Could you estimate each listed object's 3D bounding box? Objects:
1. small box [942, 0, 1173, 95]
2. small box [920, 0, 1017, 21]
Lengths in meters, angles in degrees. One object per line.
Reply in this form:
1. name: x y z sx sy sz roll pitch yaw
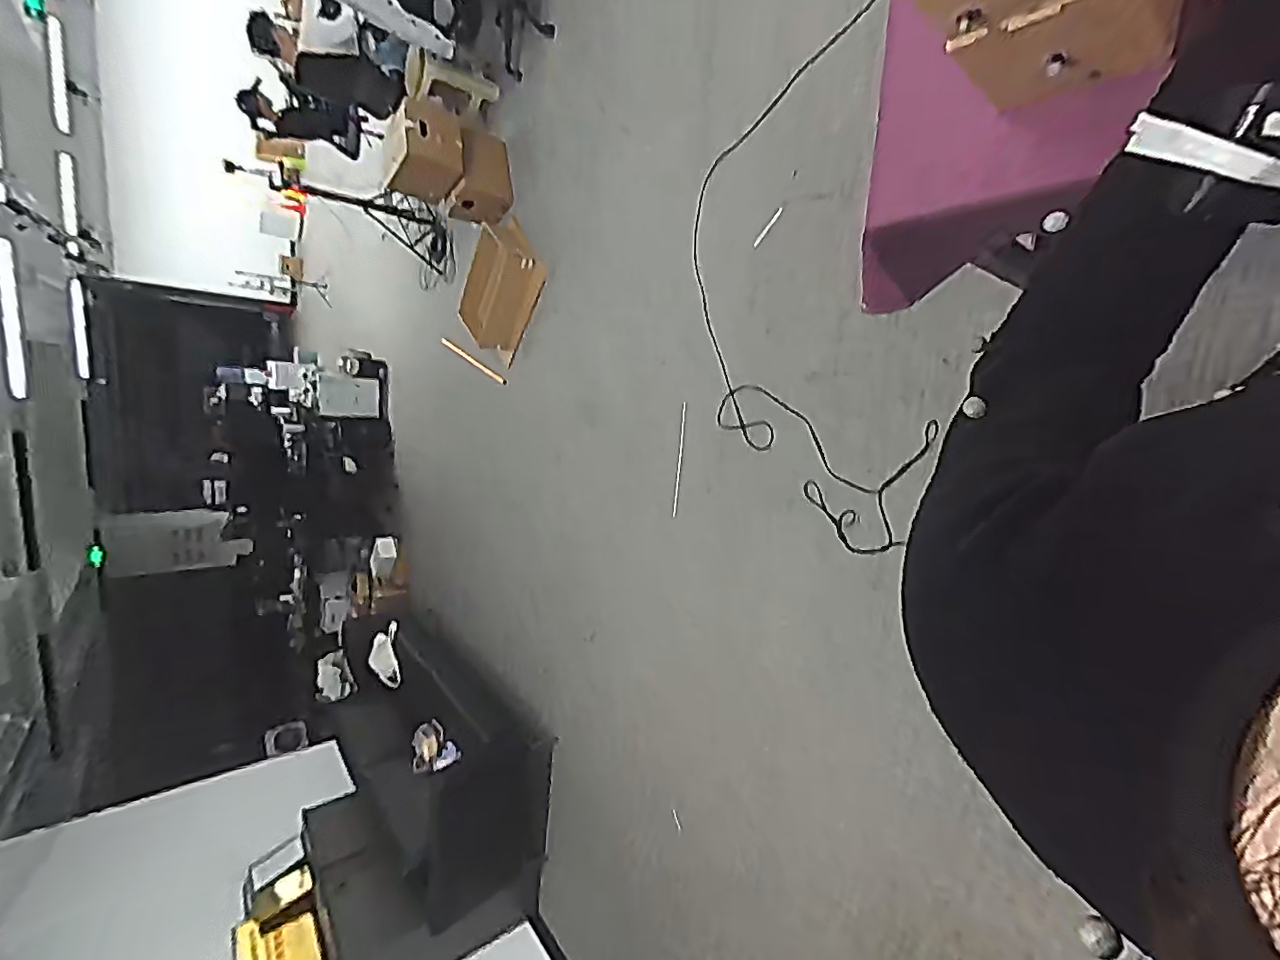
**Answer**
1. small box: 0.452 -0.545 0.572 0.168 0.176 0.179 16 106 47
2. small box: 0.328 -0.545 0.463 0.168 0.176 0.179 18 105 48
